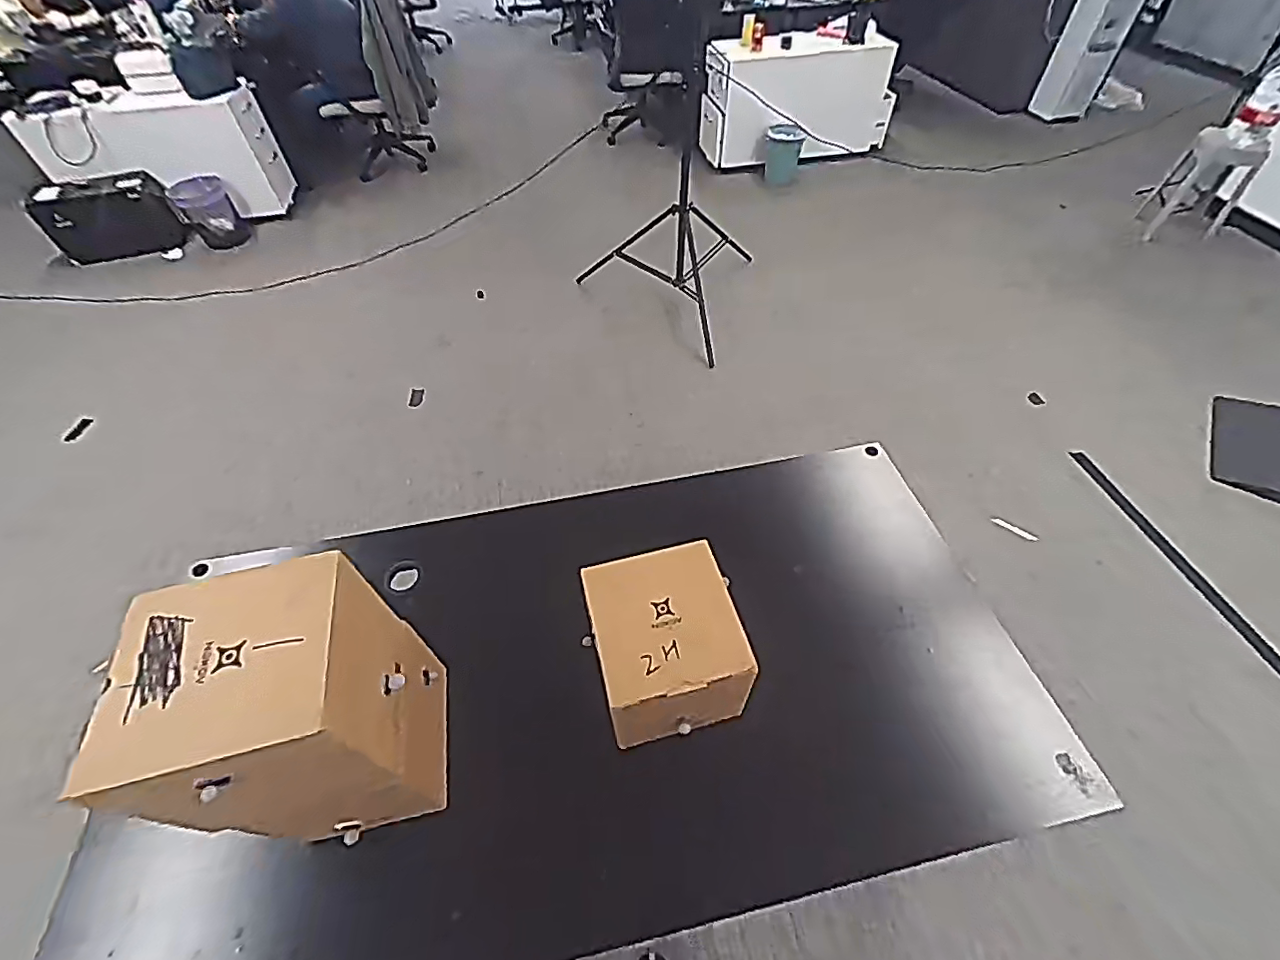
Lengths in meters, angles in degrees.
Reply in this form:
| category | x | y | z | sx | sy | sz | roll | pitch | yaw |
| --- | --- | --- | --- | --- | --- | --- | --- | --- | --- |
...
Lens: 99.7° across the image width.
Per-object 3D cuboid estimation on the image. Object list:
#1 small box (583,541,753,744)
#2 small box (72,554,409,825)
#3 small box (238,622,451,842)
| category | x | y | z | sx | sy | sz | roll | pitch | yaw |
| --- | --- | --- | --- | --- | --- | --- | --- | --- | --- |
| small box | 0.027 | 0.209 | 0.692 | 0.168 | 0.176 | 0.179 | -13 | 51 | -8 |
| small box | -0.336 | 0.198 | 0.503 | 0.179 | 0.176 | 0.168 | -13 | 51 | -8 |
| small box | -0.330 | 0.297 | 0.635 | 0.168 | 0.176 | 0.179 | -12 | 52 | -7 |
